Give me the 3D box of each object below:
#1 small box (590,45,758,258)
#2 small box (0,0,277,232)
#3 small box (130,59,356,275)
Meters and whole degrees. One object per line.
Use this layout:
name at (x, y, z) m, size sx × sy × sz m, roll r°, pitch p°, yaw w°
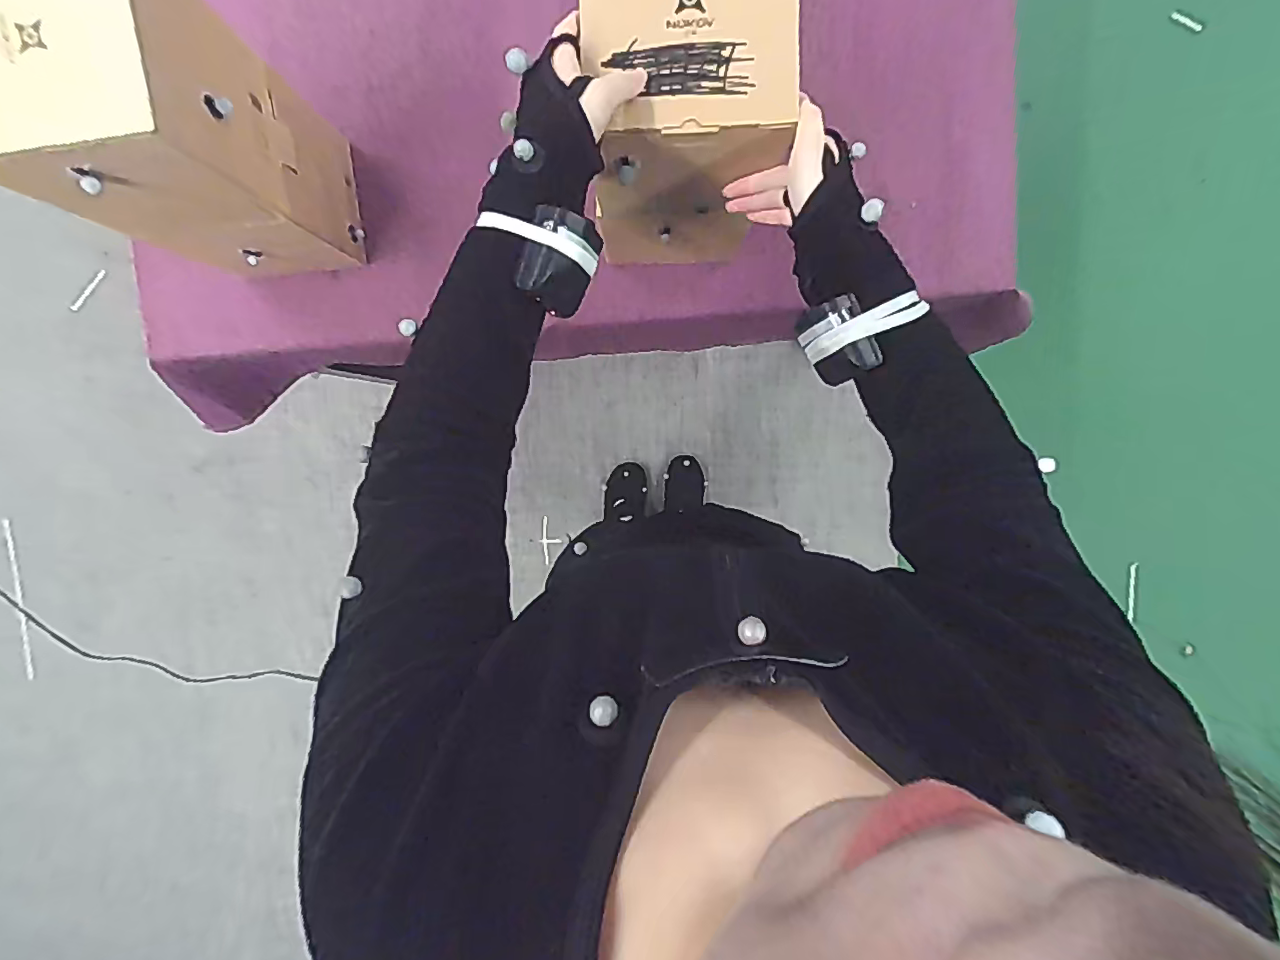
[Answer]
small box at (0.037, -0.373, 0.644) m, size 0.179 × 0.176 × 0.168 m, roll 0°, pitch 96°, yaw 1°
small box at (-0.467, -0.345, 0.489) m, size 0.179 × 0.176 × 0.168 m, roll -8°, pitch 95°, yaw 2°
small box at (-0.470, -0.360, 0.651) m, size 0.179 × 0.176 × 0.168 m, roll -6°, pitch 95°, yaw 2°
